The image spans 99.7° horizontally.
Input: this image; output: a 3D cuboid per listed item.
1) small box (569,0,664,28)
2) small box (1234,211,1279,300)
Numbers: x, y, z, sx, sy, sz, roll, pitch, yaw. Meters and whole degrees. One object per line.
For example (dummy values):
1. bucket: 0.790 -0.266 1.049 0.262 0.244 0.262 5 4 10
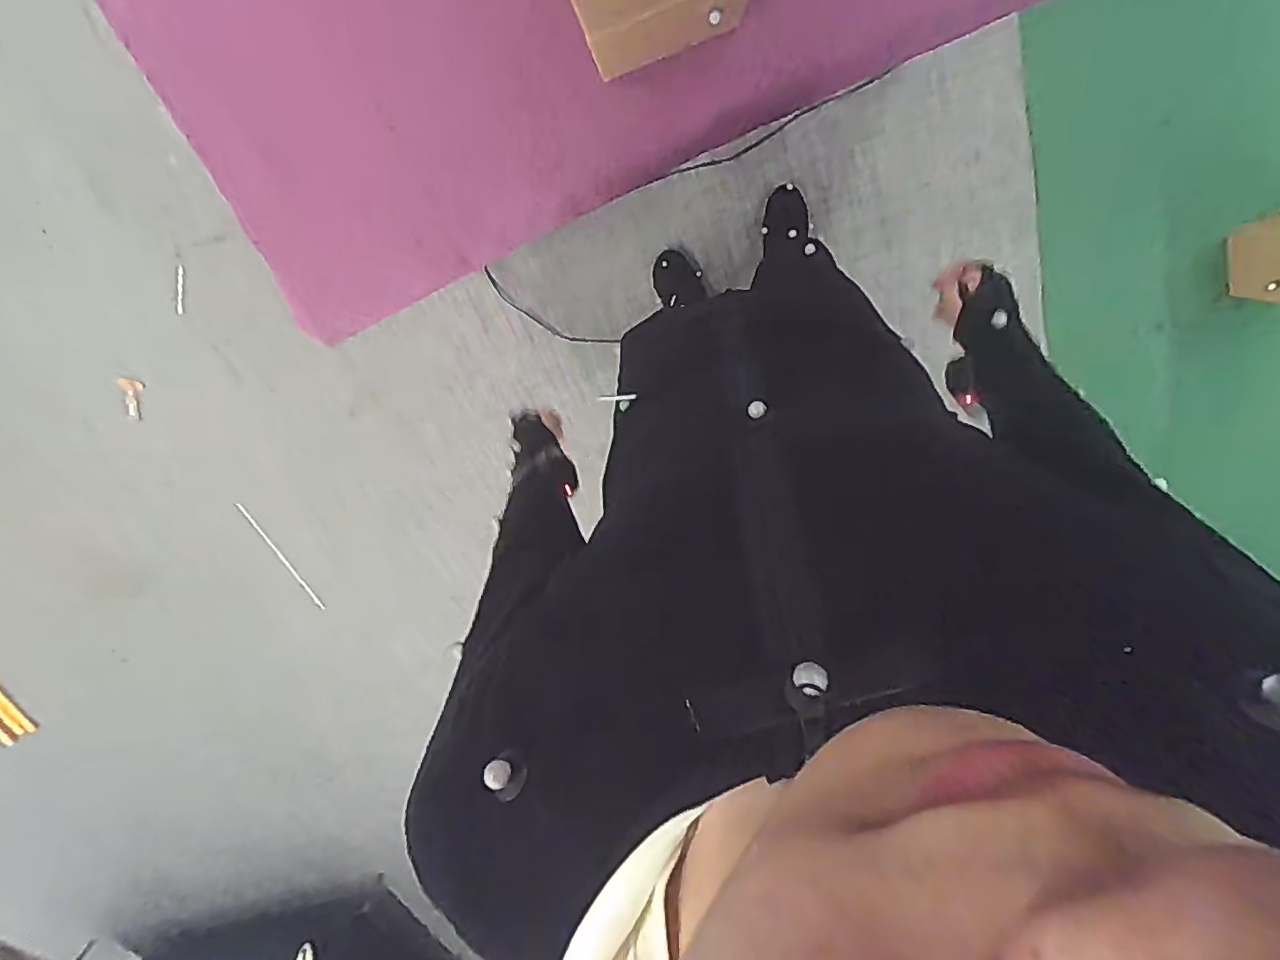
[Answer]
1. small box: -0.002 -0.497 0.413 0.179 0.176 0.168 -15 113 10
2. small box: 1.574 -0.543 1.278 0.168 0.176 0.179 -23 112 13
